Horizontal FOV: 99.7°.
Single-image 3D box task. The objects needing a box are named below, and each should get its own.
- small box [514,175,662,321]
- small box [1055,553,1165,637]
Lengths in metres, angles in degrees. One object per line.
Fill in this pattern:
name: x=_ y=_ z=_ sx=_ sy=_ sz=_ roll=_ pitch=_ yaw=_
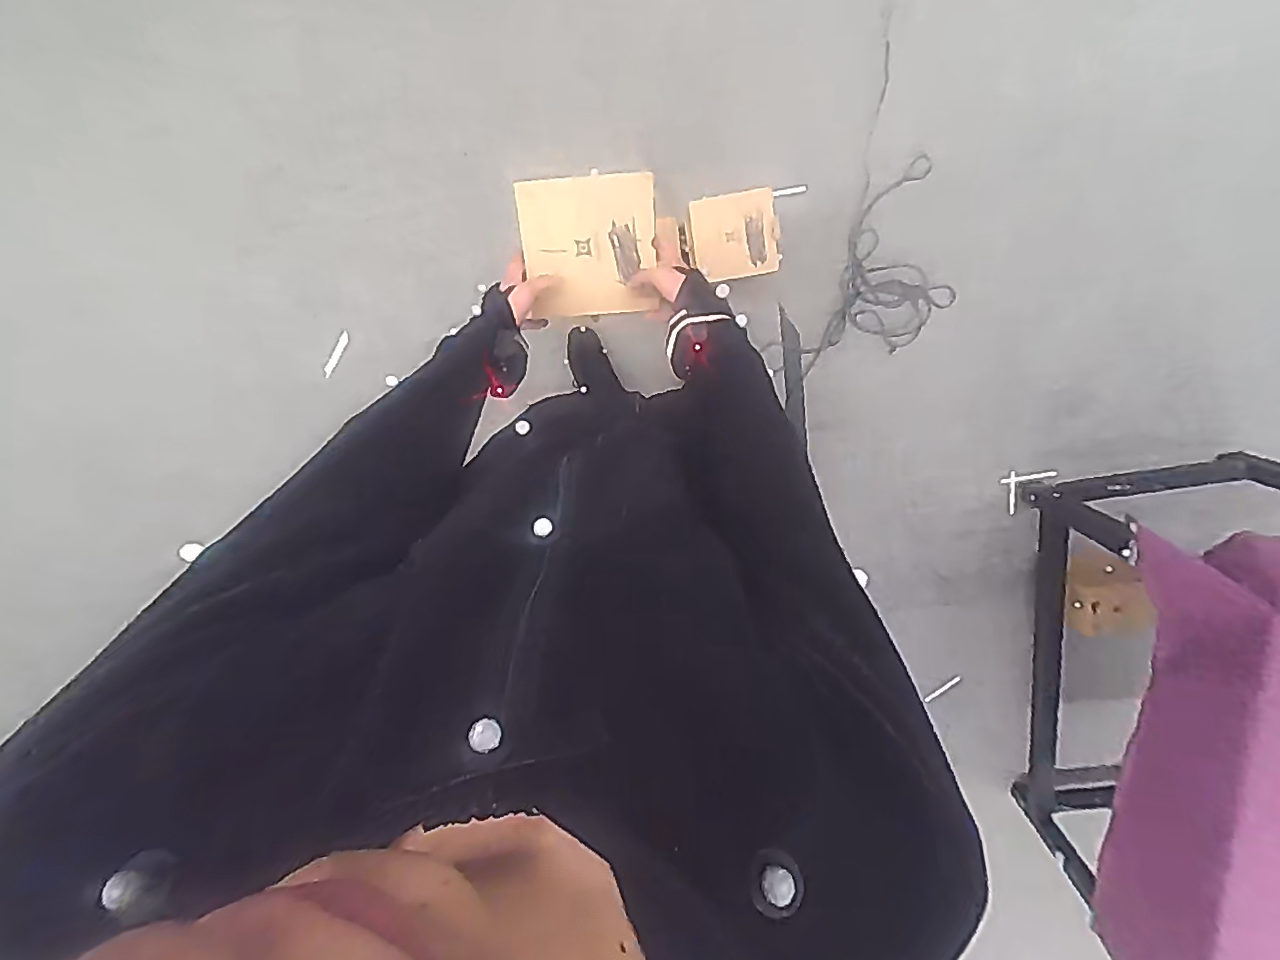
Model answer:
small box: x=-0.063 y=-0.321 z=0.760 sx=0.179 sy=0.176 sz=0.168 roll=-4 pitch=111 yaw=3
small box: x=1.343 y=0.325 z=1.555 sx=0.179 sy=0.176 sz=0.168 roll=-10 pitch=106 yaw=7
